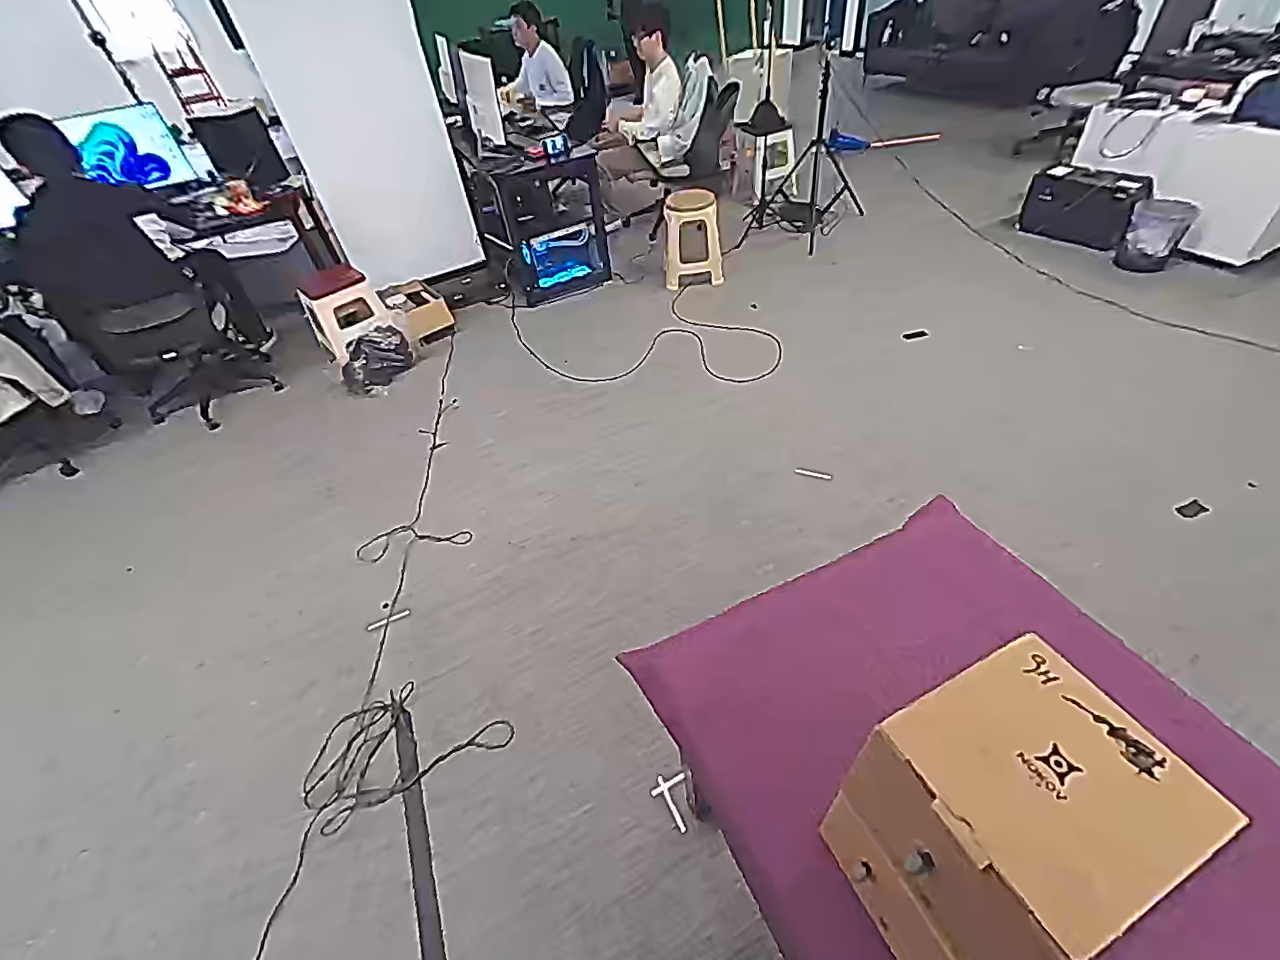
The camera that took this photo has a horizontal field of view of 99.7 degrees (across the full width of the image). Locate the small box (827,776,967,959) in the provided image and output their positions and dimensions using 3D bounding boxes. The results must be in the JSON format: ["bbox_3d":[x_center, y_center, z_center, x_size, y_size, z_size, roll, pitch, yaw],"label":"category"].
[{"bbox_3d":[0.320,0.393,0.575,0.179,0.176,0.168,-20,46,-14],"label":"small box"}]

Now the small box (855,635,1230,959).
[{"bbox_3d":[0.308,0.274,0.463,0.179,0.176,0.168,-22,47,-14],"label":"small box"}]
